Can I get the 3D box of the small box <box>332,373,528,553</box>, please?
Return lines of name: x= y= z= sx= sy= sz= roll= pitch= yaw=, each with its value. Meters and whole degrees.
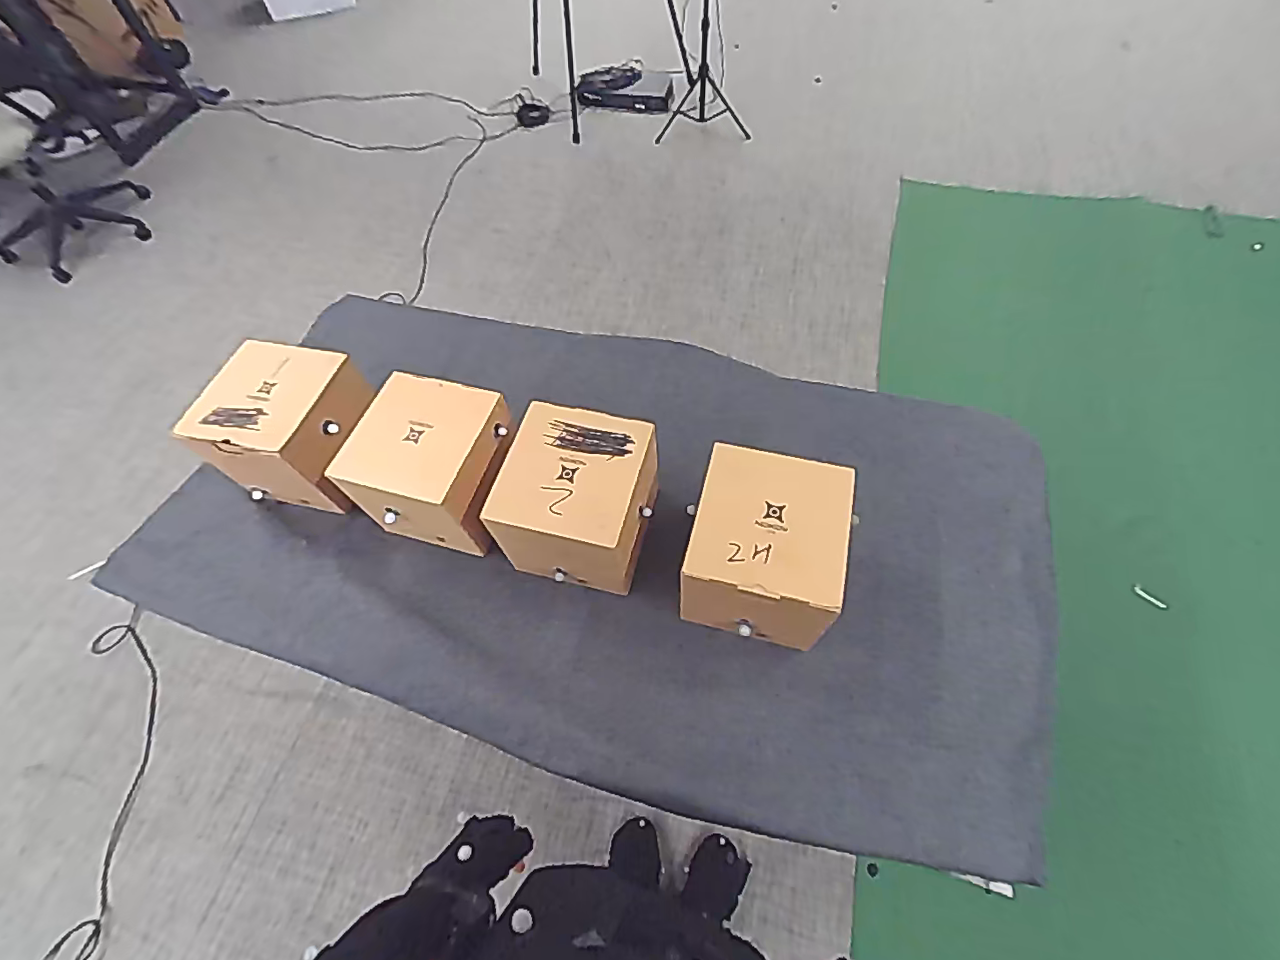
small box: x=-0.275 y=-0.018 z=0.759 sx=0.168 sy=0.176 sz=0.179 roll=13 pitch=60 yaw=11

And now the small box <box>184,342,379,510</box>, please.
small box: x=-0.499 y=-0.075 z=0.806 sx=0.168 sy=0.176 sz=0.179 roll=10 pitch=60 yaw=9
